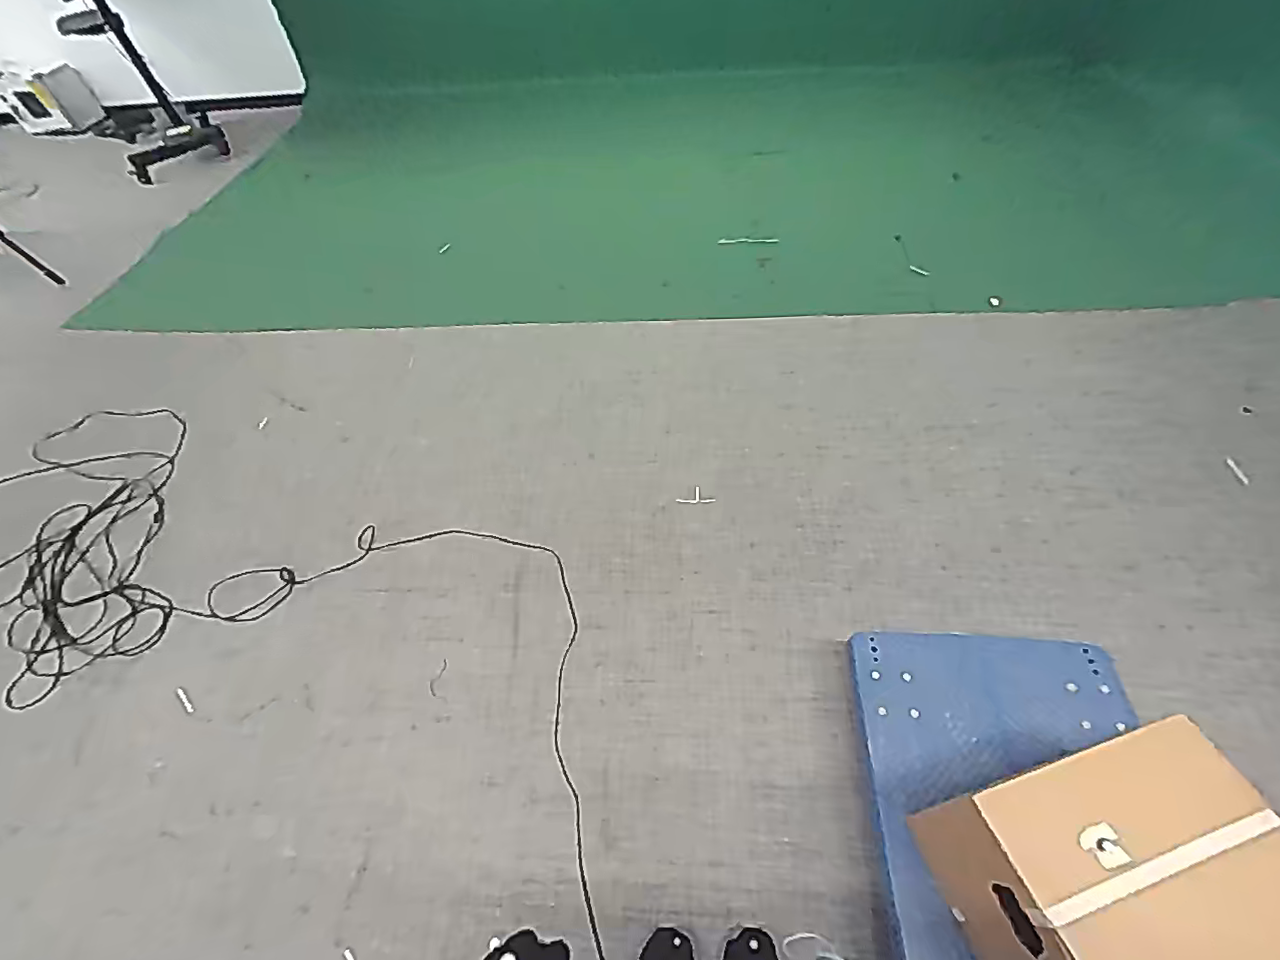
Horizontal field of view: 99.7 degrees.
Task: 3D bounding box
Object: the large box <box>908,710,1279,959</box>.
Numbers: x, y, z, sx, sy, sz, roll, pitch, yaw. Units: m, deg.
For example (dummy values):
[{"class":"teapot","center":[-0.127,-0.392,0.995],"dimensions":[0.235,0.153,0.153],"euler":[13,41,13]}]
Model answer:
[{"class":"large box","center":[0.752,0.638,0.898],"dimensions":[0.408,0.320,0.320],"euler":[-17,53,-7]}]
